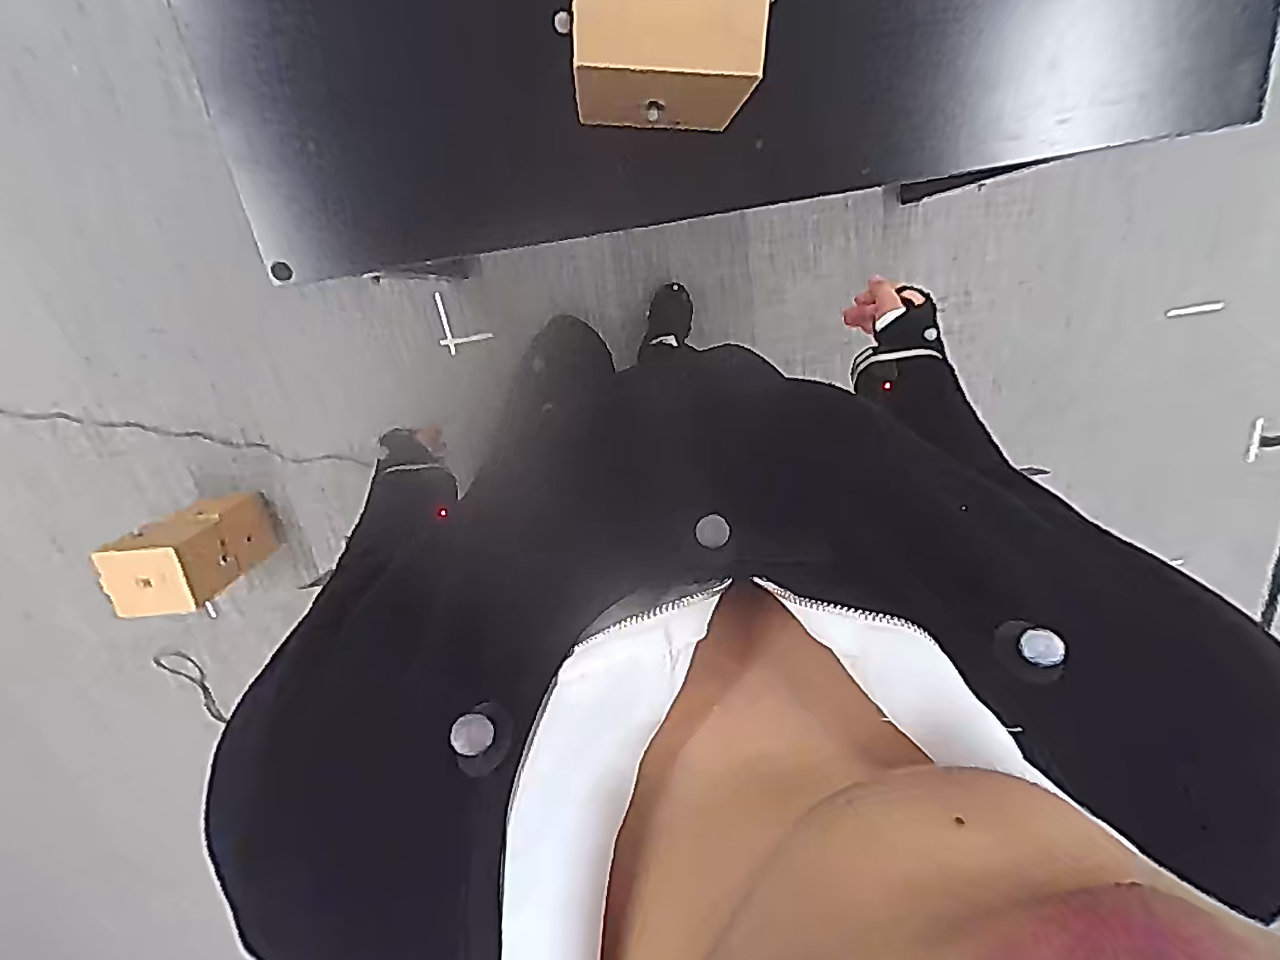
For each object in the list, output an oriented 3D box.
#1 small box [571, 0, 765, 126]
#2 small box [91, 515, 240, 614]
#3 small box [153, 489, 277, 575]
[{"bbox_3d":[0.022,-0.462,0.516,0.168,0.176,0.179,1,108,-5],"label":"small box"},{"bbox_3d":[-1.093,0.191,1.263,0.179,0.176,0.168,-5,110,-4],"label":"small box"},{"bbox_3d":[-1.101,0.140,1.418,0.168,0.176,0.179,-9,110,-1],"label":"small box"}]
